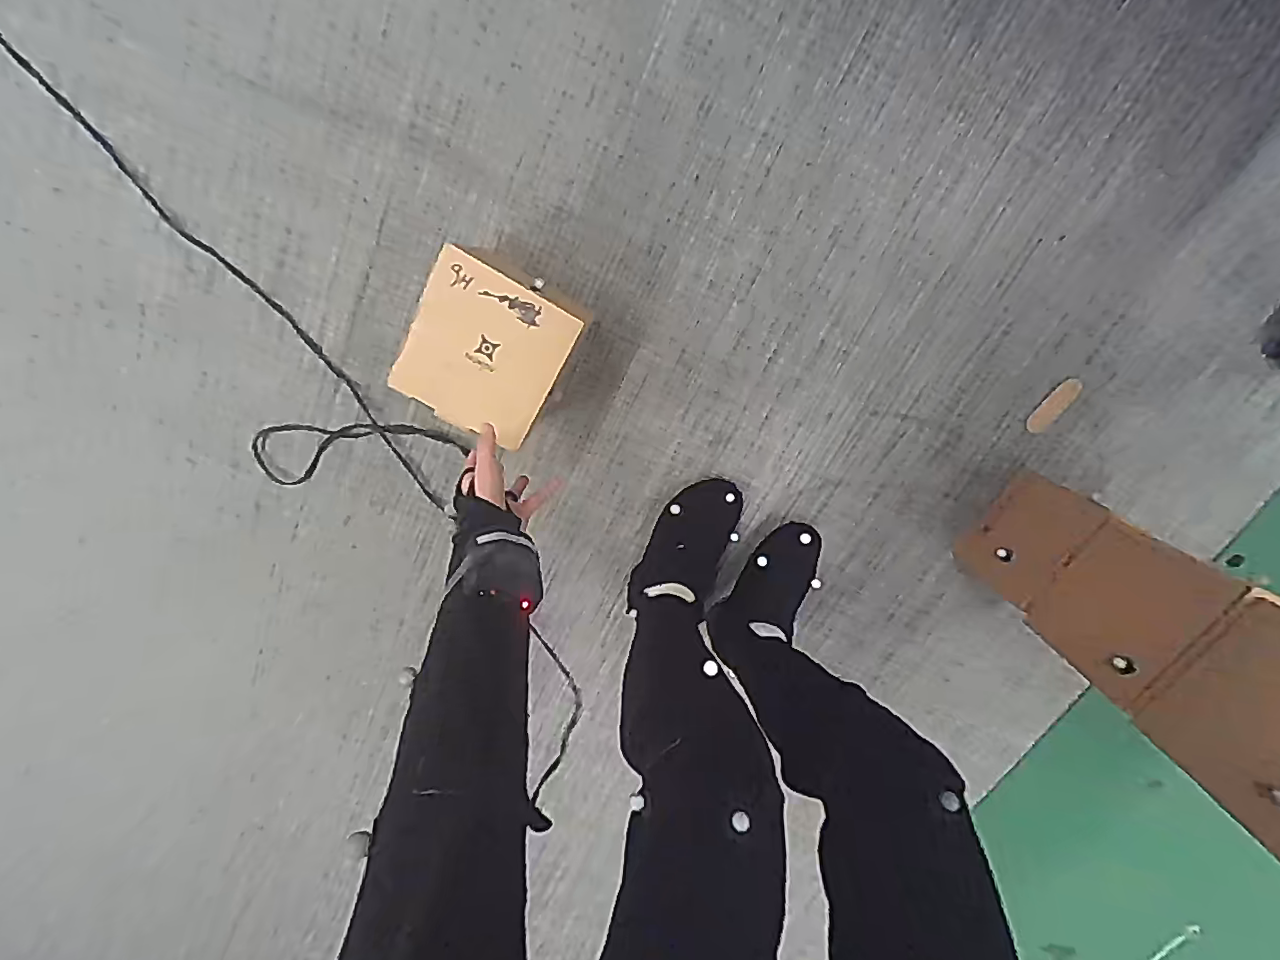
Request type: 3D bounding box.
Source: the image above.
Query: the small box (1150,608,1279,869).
[{"bbox_3d":[0.622,0.250,0.478,0.168,0.176,0.179,25,109,-9],"label":"small box"}]

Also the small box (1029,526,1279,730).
[{"bbox_3d":[0.613,0.179,0.627,0.168,0.176,0.179,24,109,-9],"label":"small box"}]

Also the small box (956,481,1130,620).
[{"bbox_3d":[0.608,0.120,0.778,0.179,0.176,0.168,26,108,-10],"label":"small box"}]

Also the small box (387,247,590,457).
[{"bbox_3d":[-0.173,-0.160,0.671,0.168,0.176,0.179,29,108,-10],"label":"small box"}]
